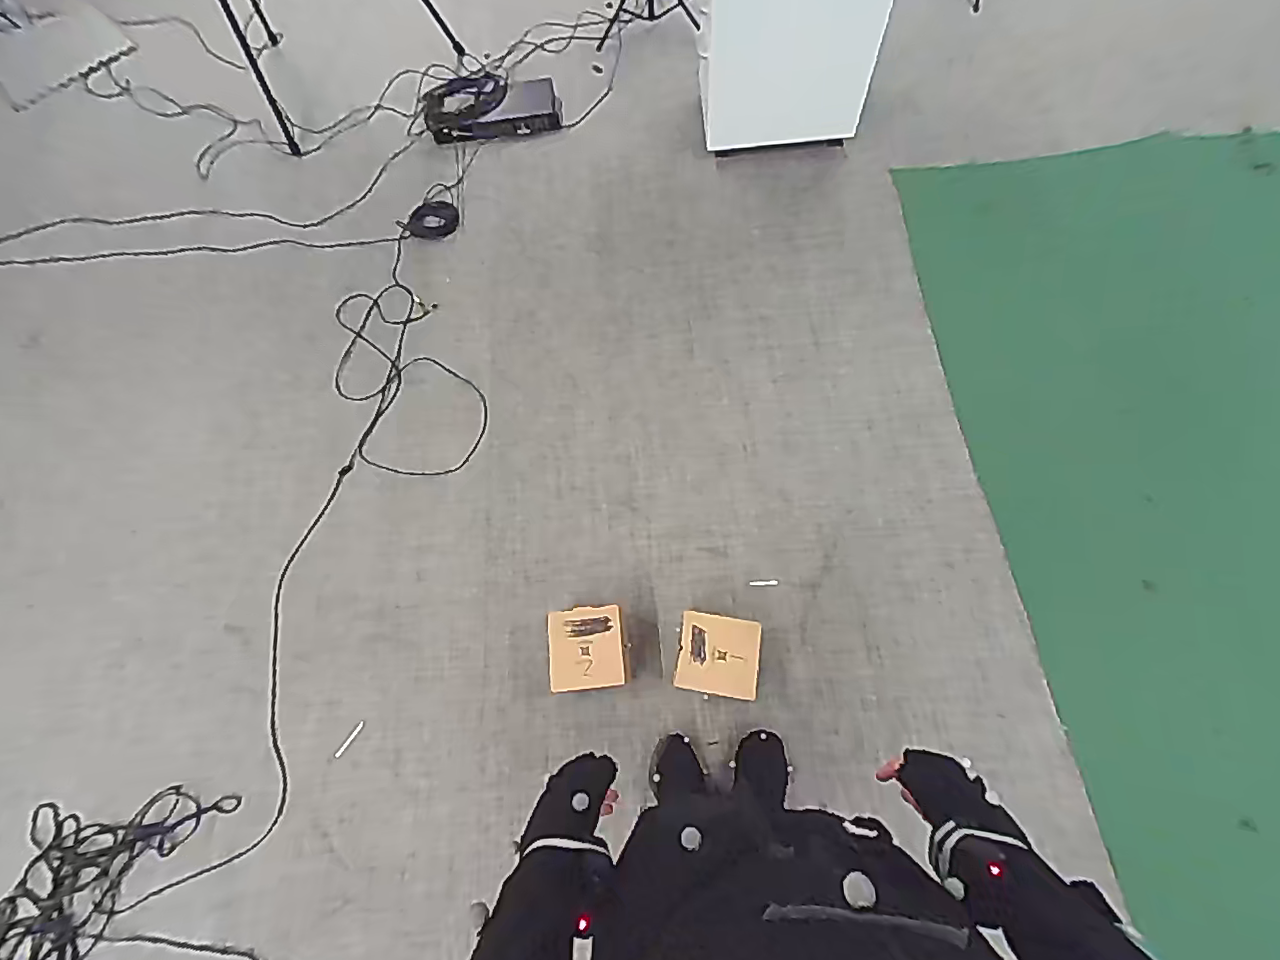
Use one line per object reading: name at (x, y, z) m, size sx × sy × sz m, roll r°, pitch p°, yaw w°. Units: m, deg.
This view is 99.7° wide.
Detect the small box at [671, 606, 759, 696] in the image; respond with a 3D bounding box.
small box at (0.170, 0.401, 1.255) m, size 0.179 × 0.176 × 0.168 m, roll 8°, pitch 70°, yaw 7°
